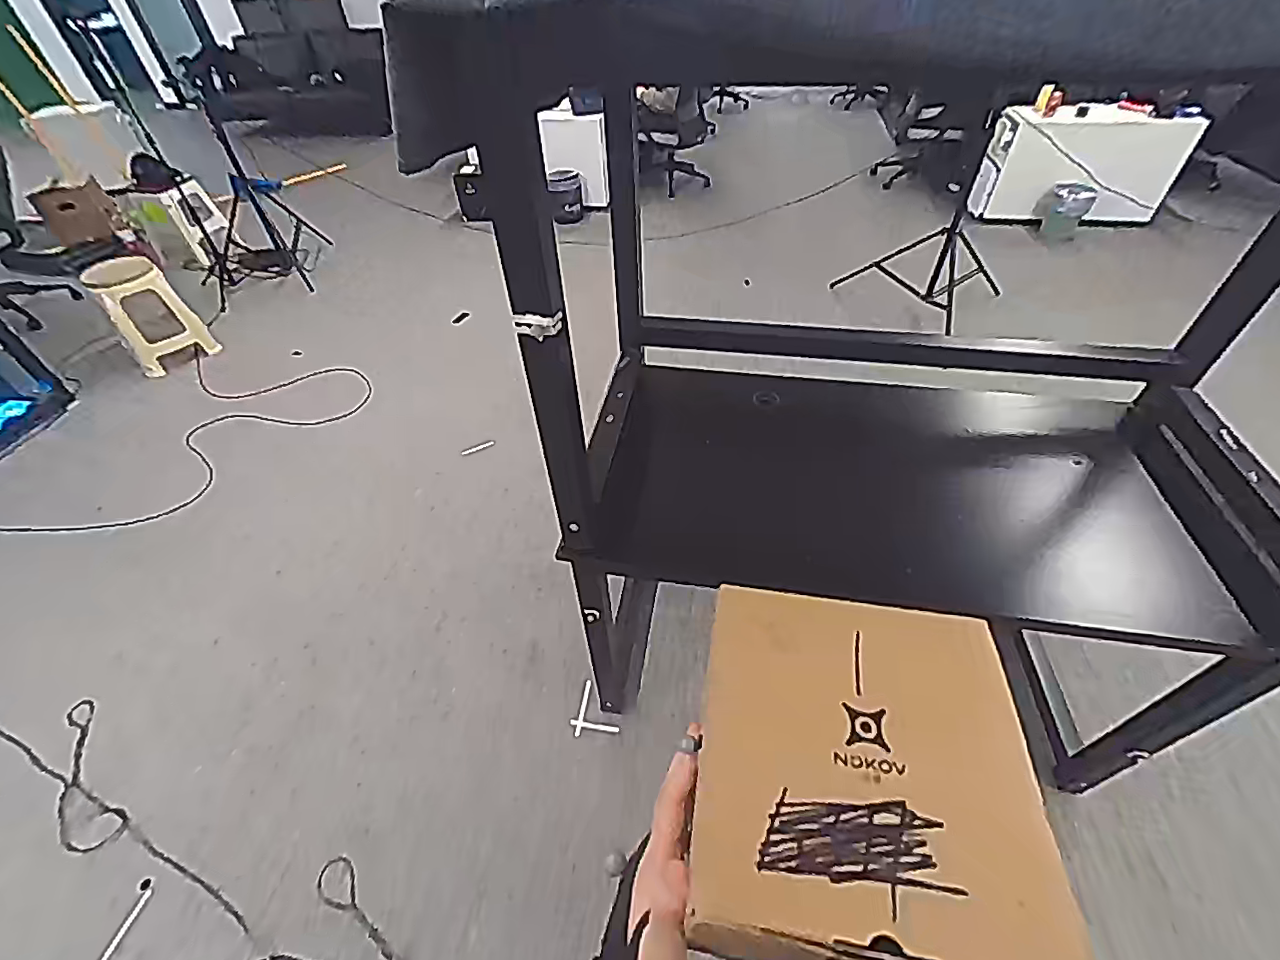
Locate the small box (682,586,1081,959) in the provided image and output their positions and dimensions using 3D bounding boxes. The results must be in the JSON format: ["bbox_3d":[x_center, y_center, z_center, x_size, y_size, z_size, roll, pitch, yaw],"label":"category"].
[{"bbox_3d":[0.118,0.195,0.341,0.168,0.176,0.179,6,46,8],"label":"small box"}]
